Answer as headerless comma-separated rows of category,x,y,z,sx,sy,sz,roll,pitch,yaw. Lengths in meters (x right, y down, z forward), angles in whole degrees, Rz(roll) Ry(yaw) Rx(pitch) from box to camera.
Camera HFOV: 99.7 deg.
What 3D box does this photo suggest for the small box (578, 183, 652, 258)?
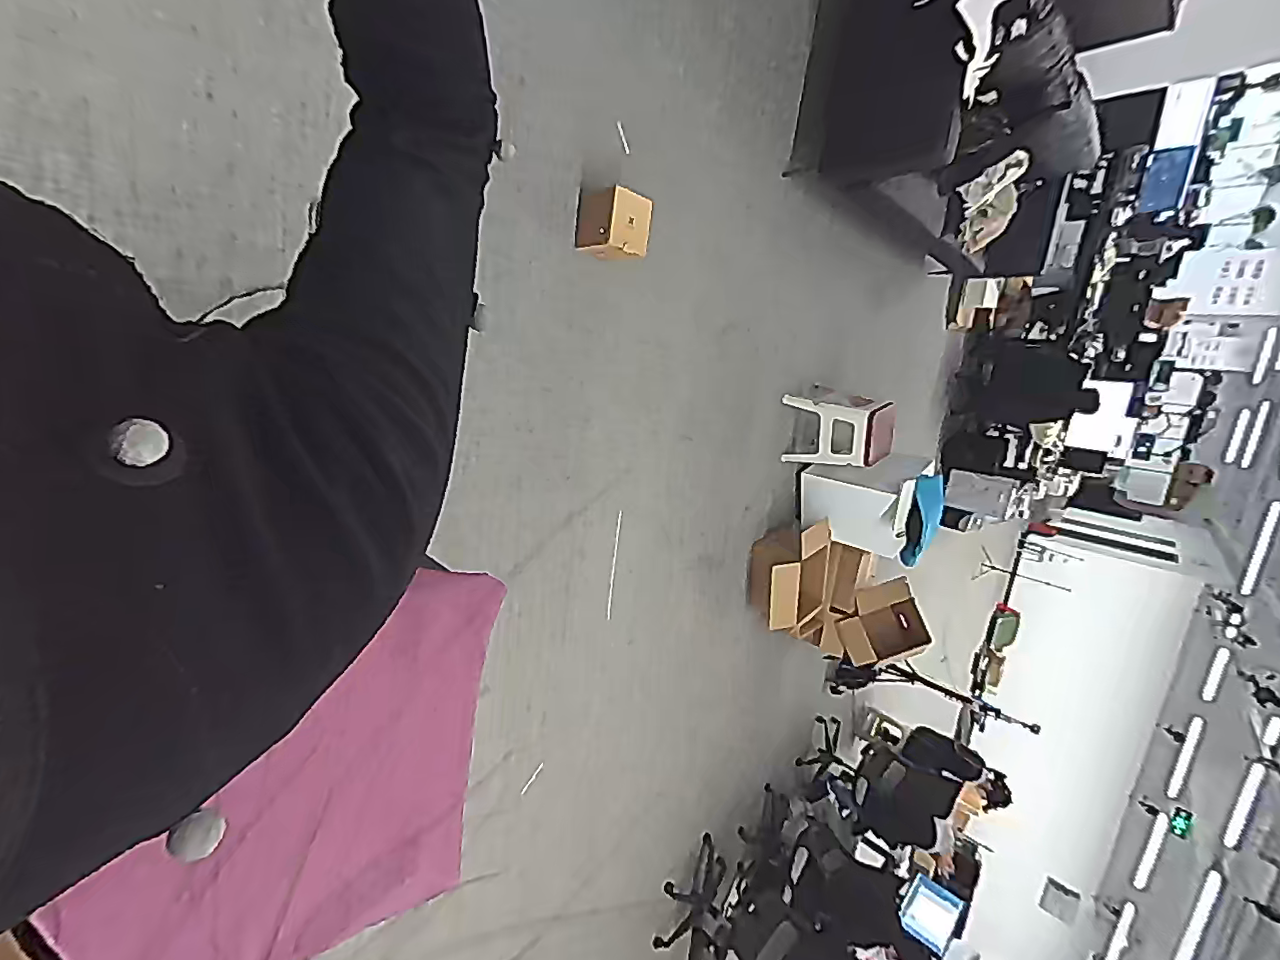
small box,-0.085,-0.836,1.756,0.168,0.176,0.179,-4,106,-46
